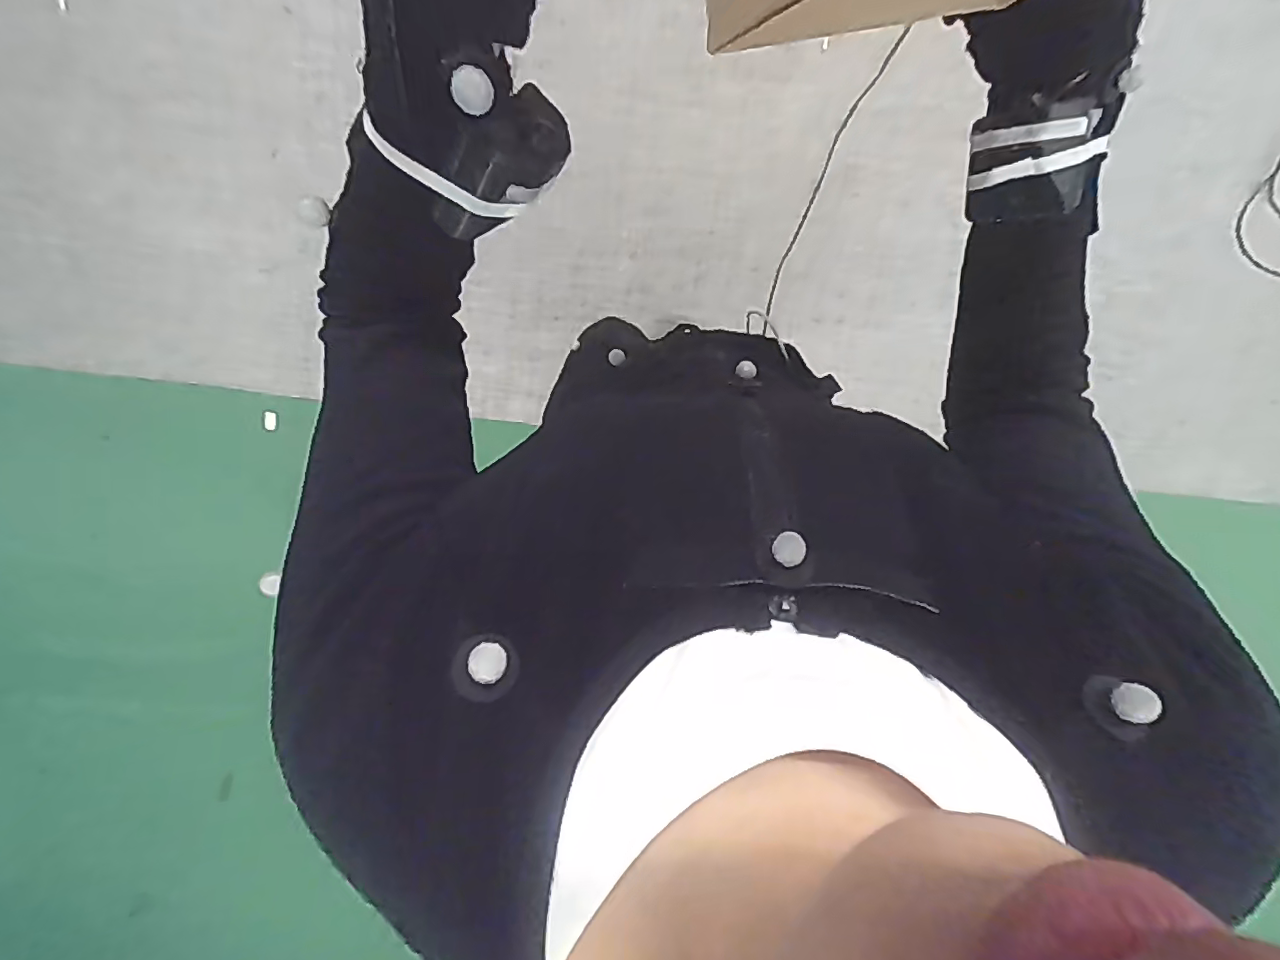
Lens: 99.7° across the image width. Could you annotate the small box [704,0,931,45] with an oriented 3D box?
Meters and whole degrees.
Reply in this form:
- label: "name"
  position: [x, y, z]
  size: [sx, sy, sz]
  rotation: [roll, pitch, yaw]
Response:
- label: "small box"
  position: [0.105, -0.301, 0.208]
  size: [0.168, 0.179, 0.176]
  rotation: [-4, 115, 7]
